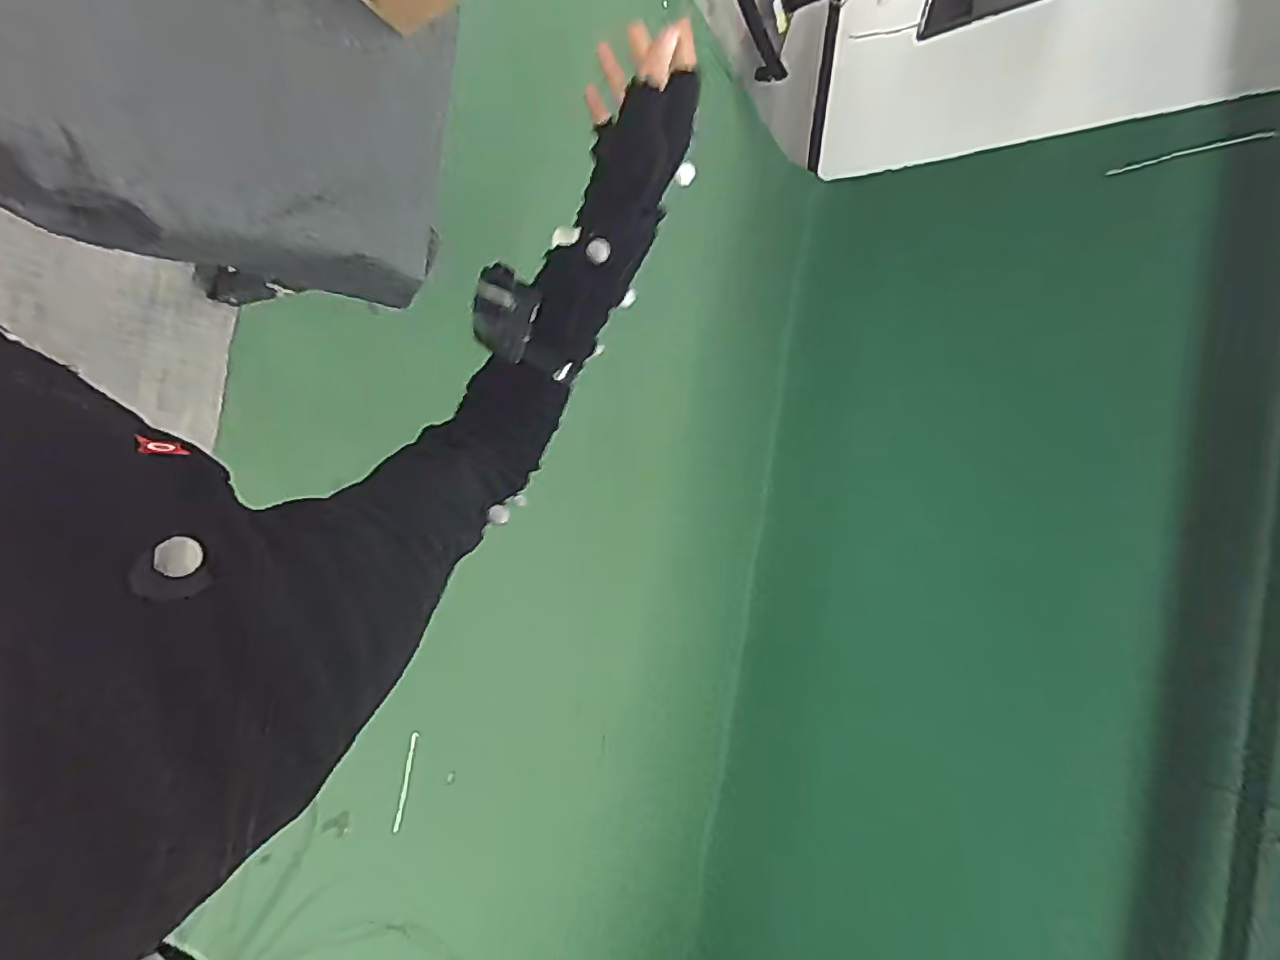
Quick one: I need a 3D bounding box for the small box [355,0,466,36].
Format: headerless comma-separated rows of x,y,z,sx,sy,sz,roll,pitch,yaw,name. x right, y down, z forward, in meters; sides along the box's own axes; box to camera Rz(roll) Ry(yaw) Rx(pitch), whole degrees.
-0.304,-0.711,0.661,0.168,0.176,0.179,13,86,-54,small box
